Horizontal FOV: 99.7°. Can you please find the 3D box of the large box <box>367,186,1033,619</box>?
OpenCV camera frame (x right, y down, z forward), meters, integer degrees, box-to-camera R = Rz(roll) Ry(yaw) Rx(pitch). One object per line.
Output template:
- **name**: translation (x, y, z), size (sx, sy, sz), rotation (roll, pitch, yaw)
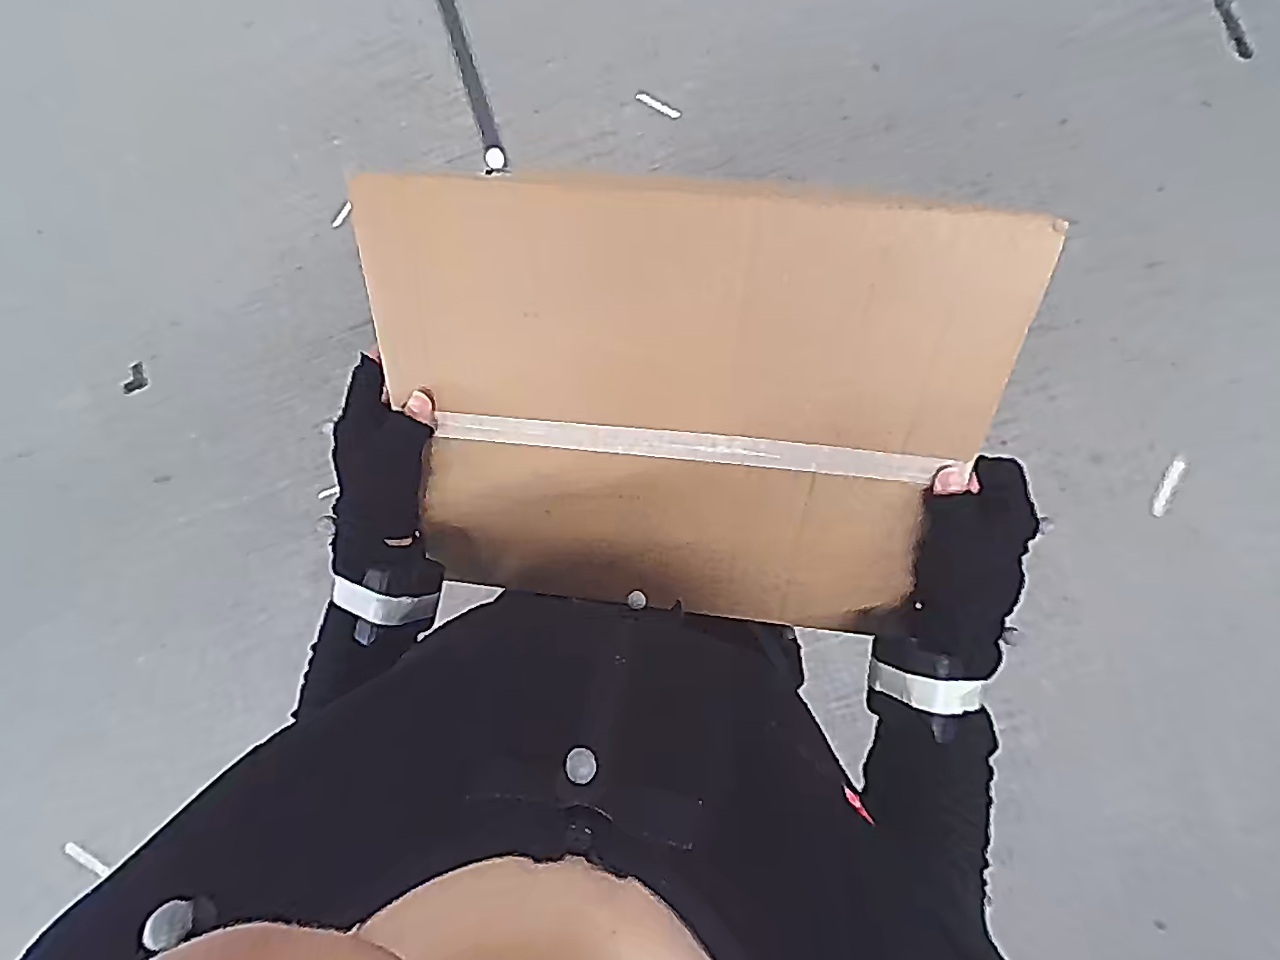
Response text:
- **large box**: translation (0.037, -0.104, 0.521), size (0.408, 0.320, 0.320), rotation (5, 122, 5)
